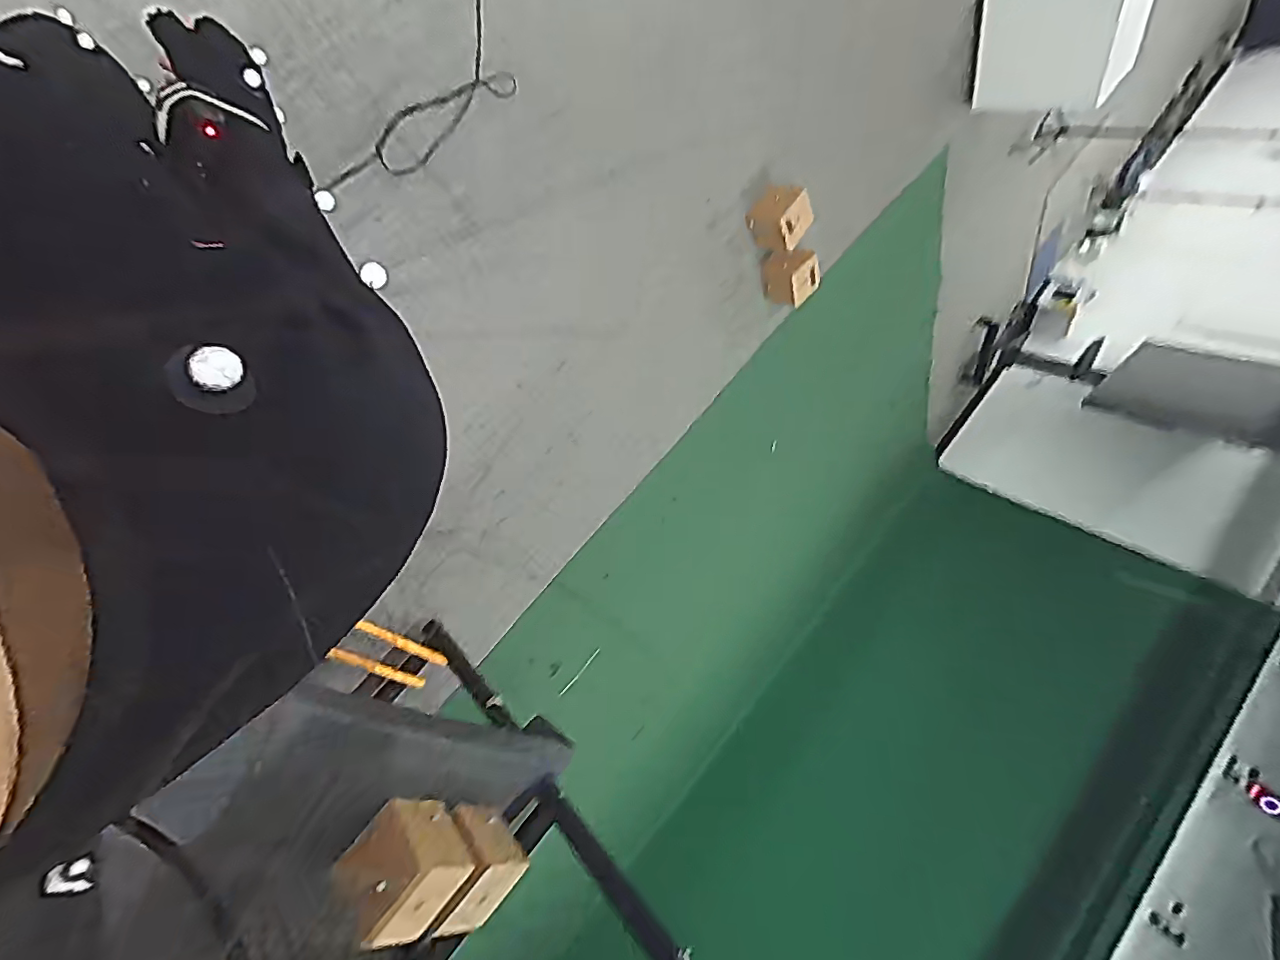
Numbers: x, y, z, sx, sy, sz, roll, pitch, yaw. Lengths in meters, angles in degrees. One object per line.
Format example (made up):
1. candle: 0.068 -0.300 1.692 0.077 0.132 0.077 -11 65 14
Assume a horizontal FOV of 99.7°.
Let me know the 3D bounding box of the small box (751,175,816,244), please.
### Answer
1. small box: 0.558 -1.063 2.123 0.179 0.176 0.168 -53 143 -5

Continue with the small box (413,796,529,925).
1. small box: -0.402 0.885 1.267 0.179 0.176 0.168 -48 141 -10
